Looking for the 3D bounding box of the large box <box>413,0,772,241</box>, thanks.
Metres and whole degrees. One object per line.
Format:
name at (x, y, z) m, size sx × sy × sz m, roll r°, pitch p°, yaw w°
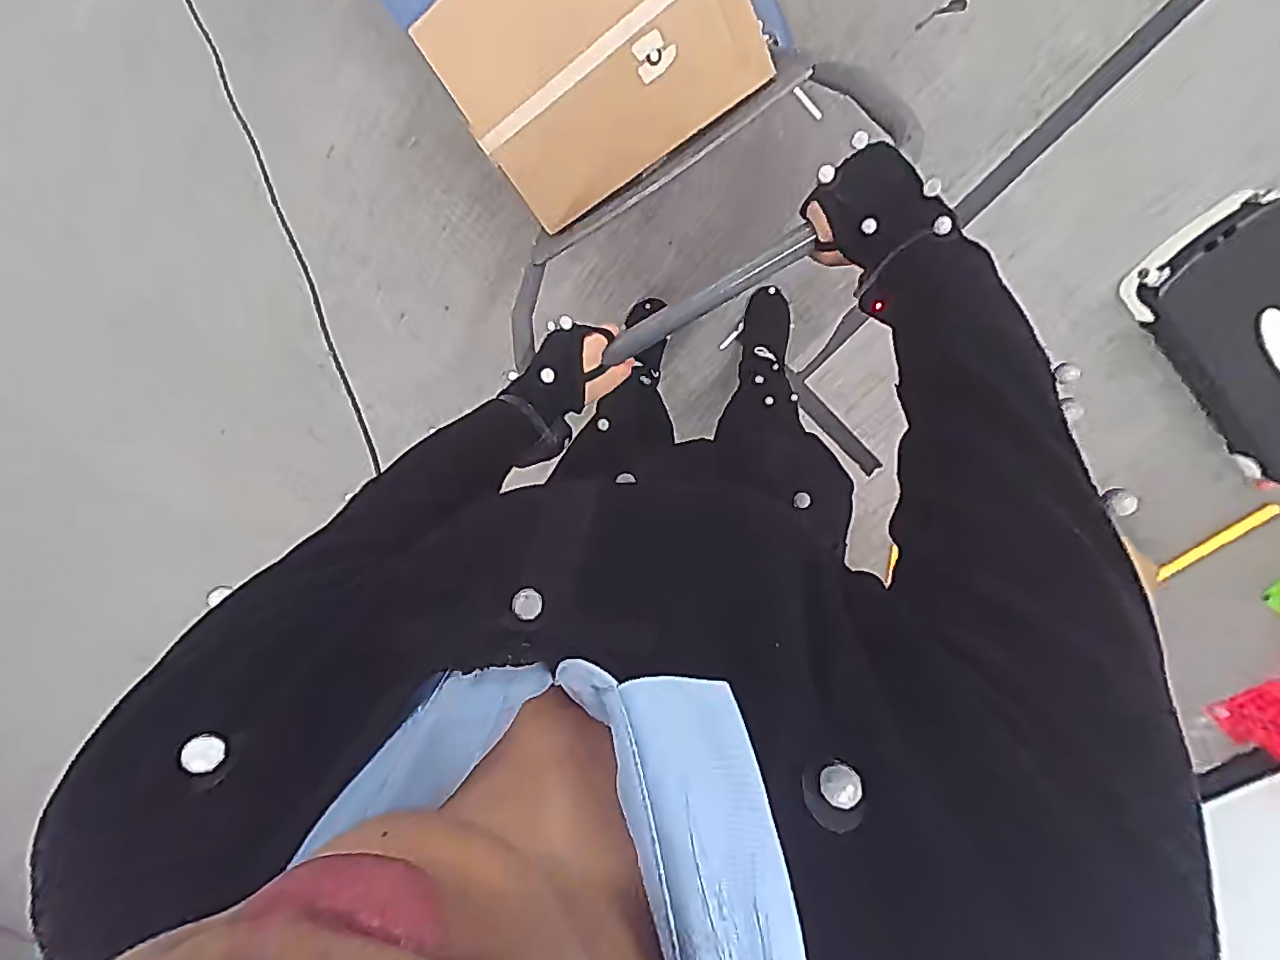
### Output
large box at (-0.063, -0.661, 0.852) m, size 0.408 × 0.320 × 0.320 m, roll -27°, pitch 124°, yaw 19°
